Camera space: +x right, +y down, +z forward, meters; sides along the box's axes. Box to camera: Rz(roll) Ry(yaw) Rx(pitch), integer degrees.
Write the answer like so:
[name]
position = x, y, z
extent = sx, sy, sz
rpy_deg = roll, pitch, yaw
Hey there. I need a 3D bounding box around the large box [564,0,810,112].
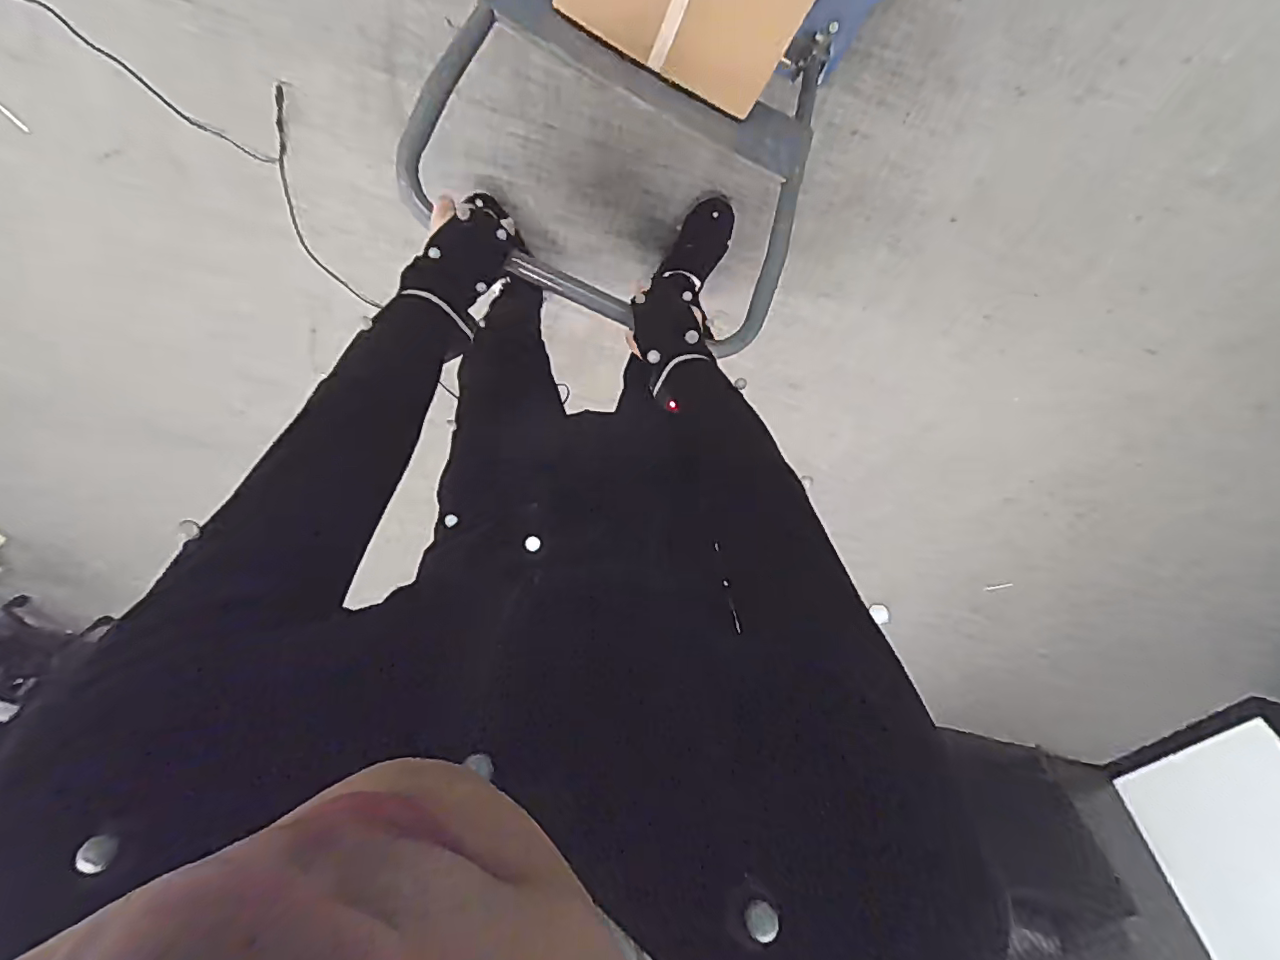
[large box]
position = 0.129, -0.817, 0.696
extent = 0.320, 0.320, 0.408
rpy_deg = 22, 152, -14
